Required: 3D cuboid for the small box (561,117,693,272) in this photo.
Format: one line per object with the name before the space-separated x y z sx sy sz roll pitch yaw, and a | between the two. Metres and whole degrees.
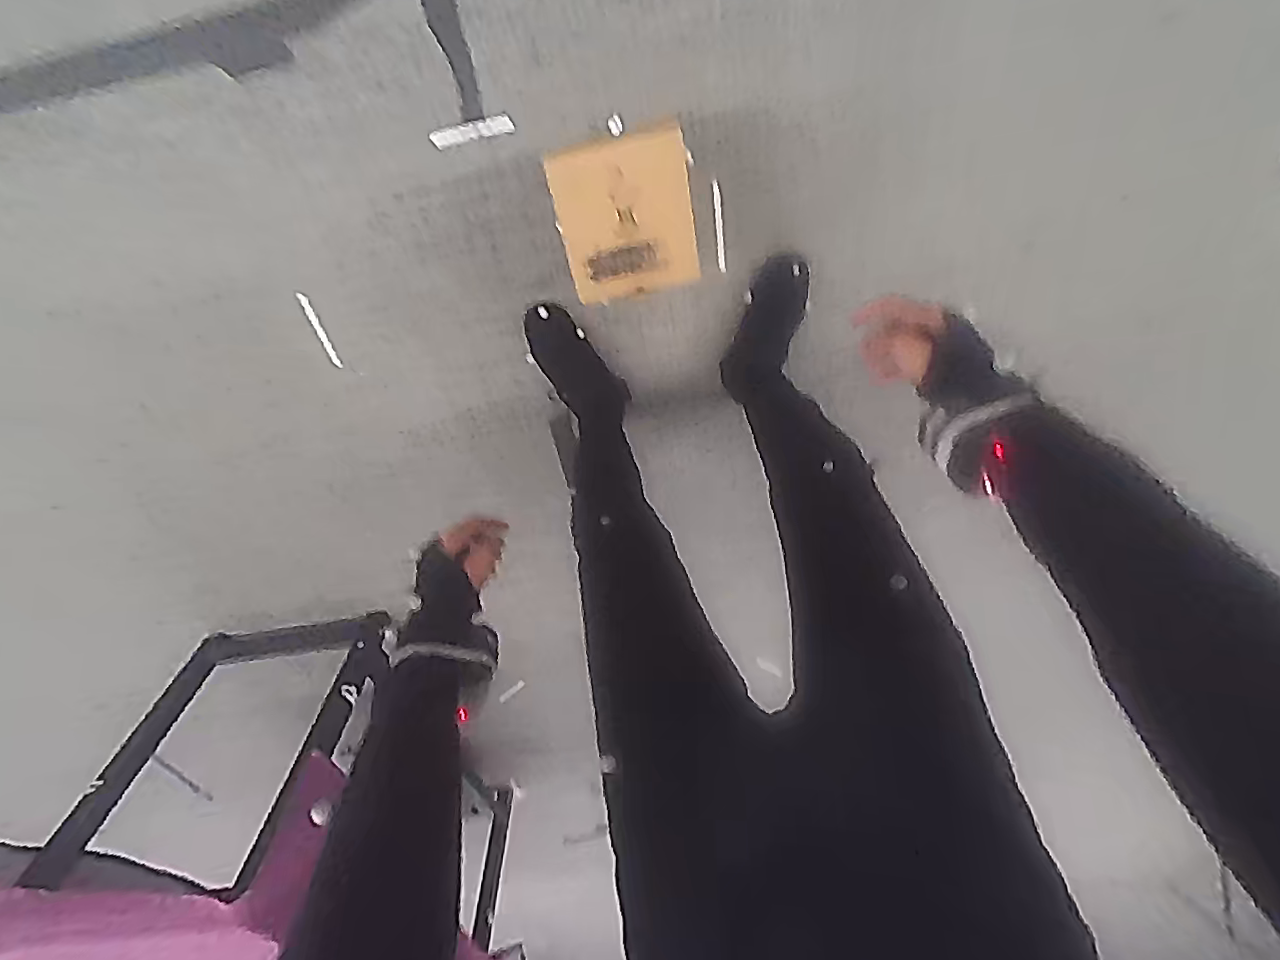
small box | -0.018 -0.458 0.860 0.168 0.176 0.179 -12 127 7
